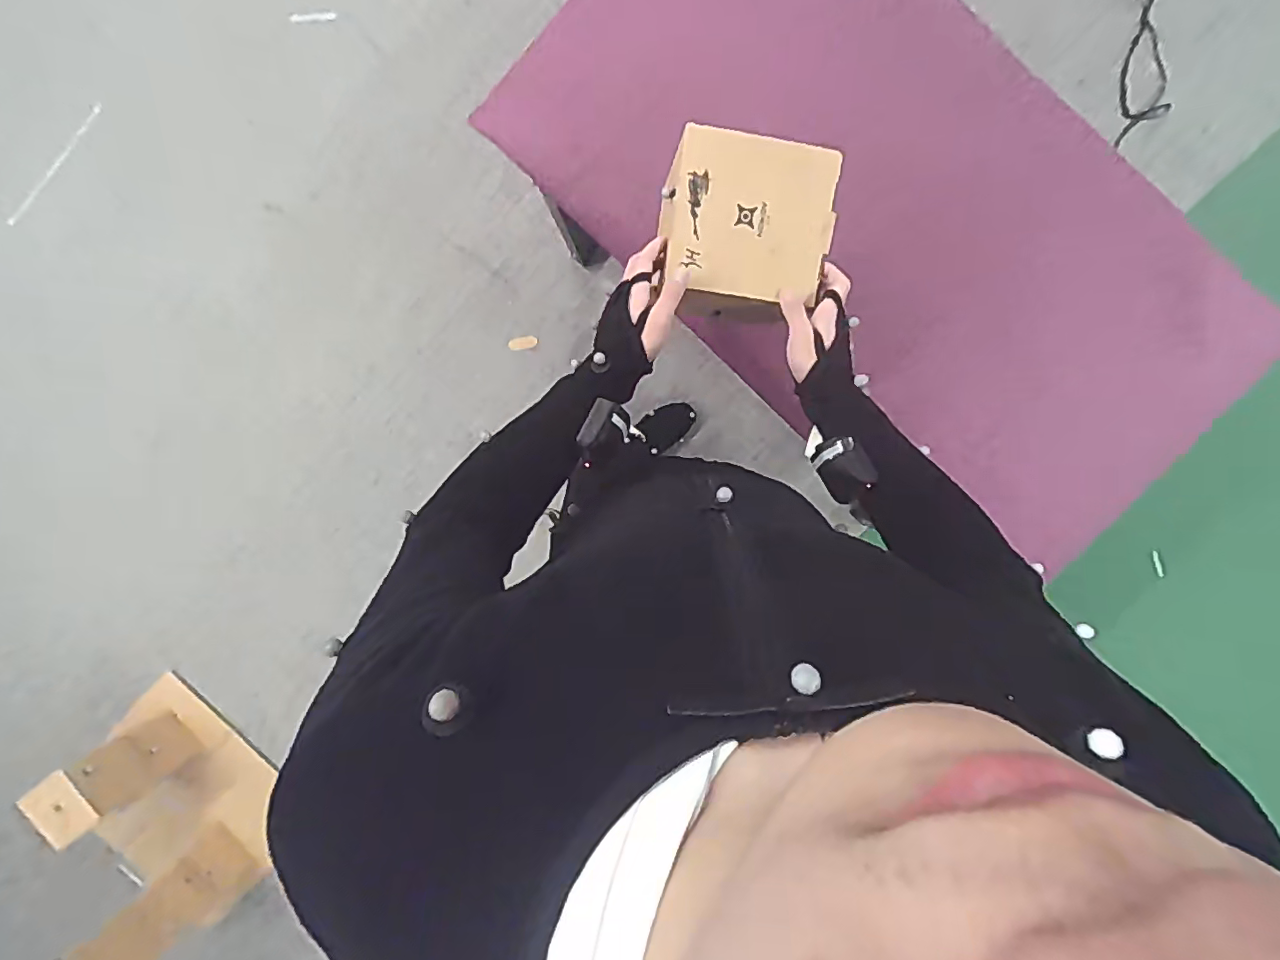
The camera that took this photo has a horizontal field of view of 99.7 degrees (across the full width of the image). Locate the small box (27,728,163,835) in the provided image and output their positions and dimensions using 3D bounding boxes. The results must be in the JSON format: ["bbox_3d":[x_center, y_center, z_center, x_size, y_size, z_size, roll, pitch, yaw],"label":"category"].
[{"bbox_3d":[-1.528,0.837,1.527,0.168,0.176,0.179,-35,93,5],"label":"small box"}]

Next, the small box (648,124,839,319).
[{"bbox_3d":[0.113,-0.299,0.667,0.179,0.176,0.168,7,100,-6],"label":"small box"}]

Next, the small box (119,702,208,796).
[{"bbox_3d":[-1.527,0.829,1.693,0.168,0.176,0.179,-39,93,5],"label":"small box"}]
